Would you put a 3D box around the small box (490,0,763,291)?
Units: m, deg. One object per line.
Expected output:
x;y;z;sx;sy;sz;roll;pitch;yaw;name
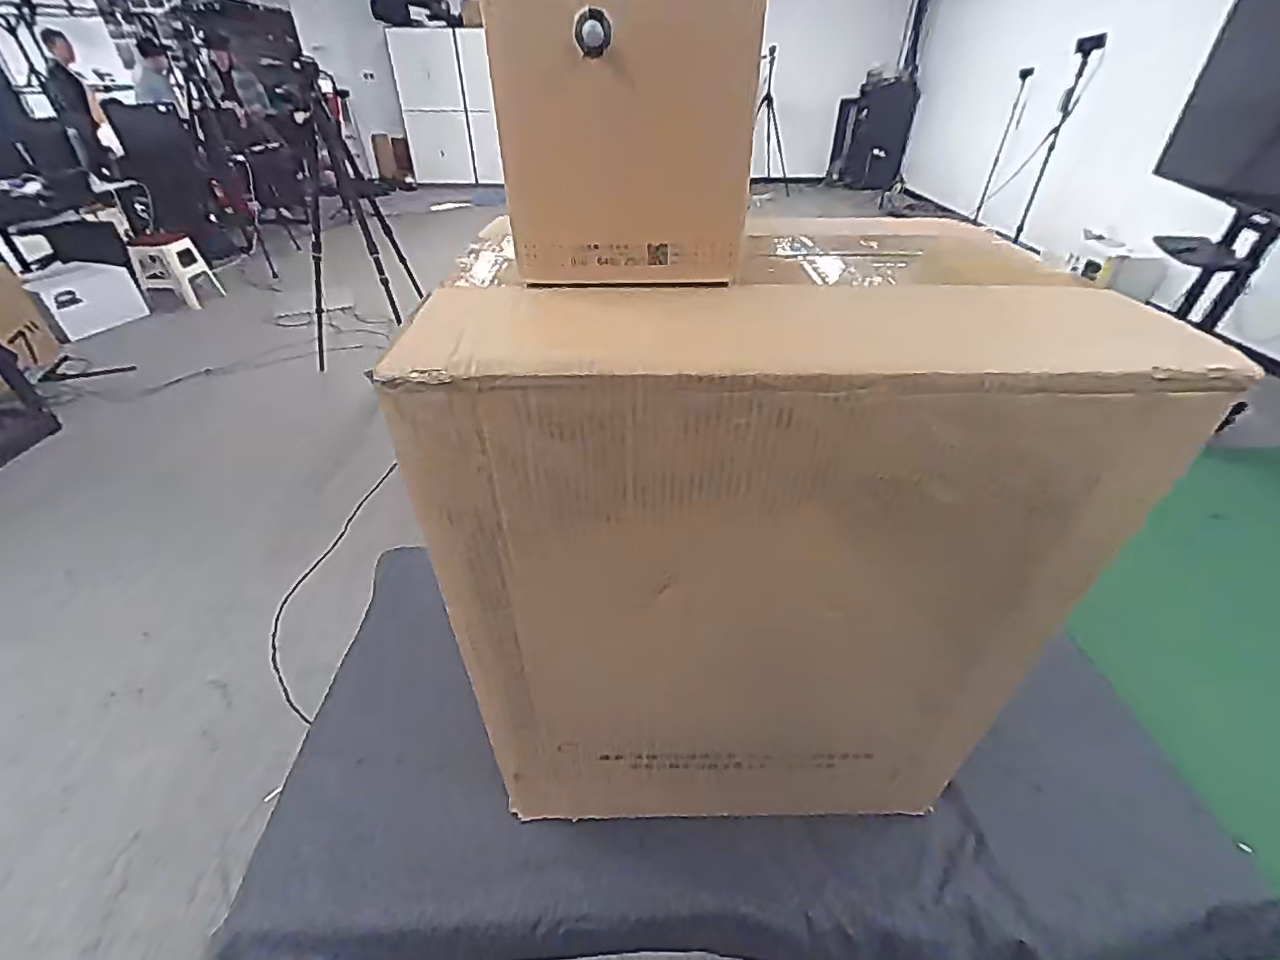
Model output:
-0.008;-0.260;0.432;0.168;0.176;0.179;0;36;0;small box
